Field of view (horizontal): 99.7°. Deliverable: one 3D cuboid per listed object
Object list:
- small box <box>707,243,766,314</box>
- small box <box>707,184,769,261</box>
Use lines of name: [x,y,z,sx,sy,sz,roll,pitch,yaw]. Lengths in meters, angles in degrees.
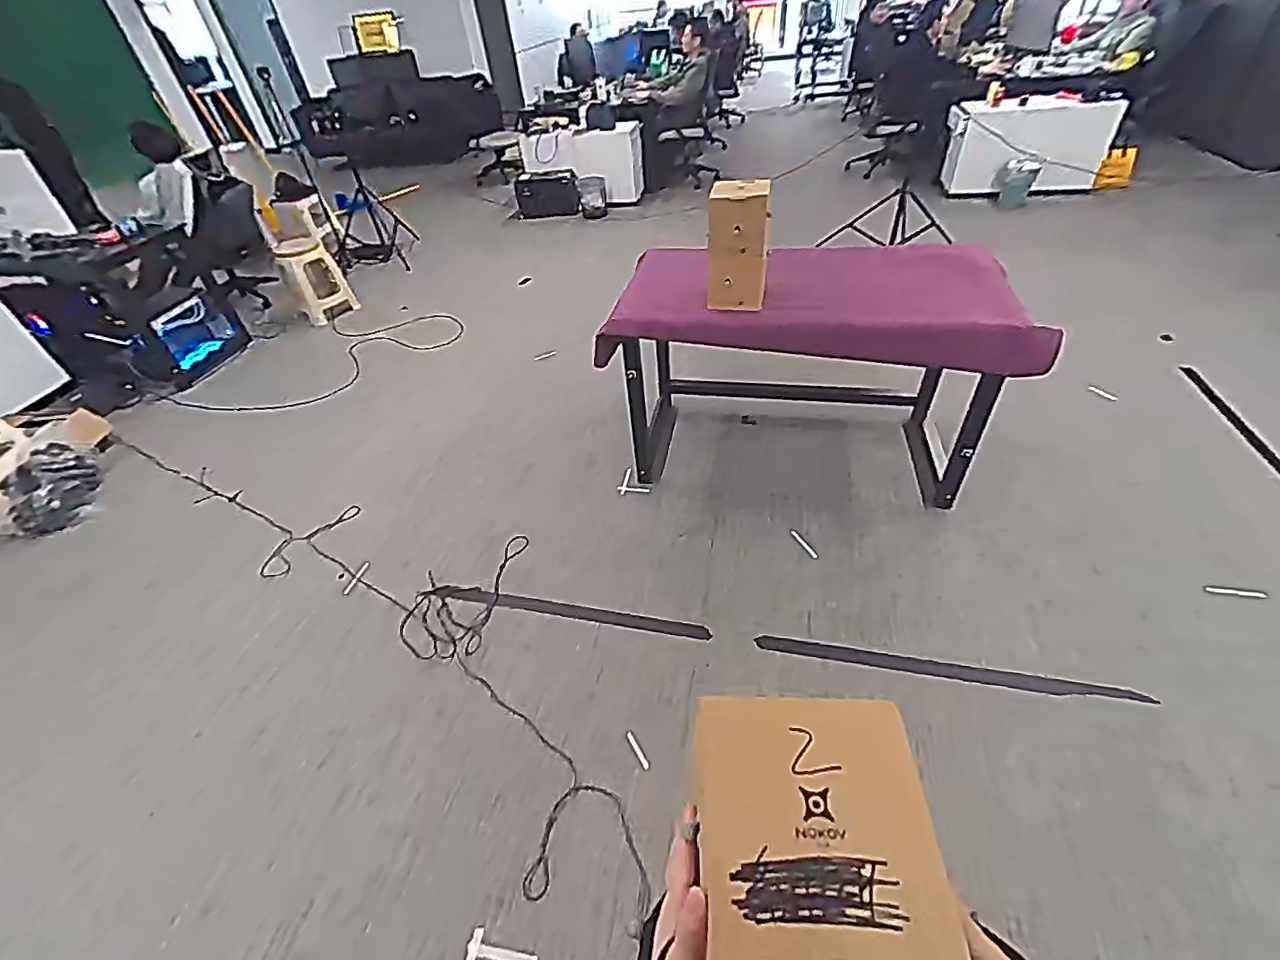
small box: [0.308,-0.642,1.722,0.168,0.176,0.179,6,43,13]
small box: [0.293,-0.767,1.617,0.168,0.176,0.179,5,43,12]
